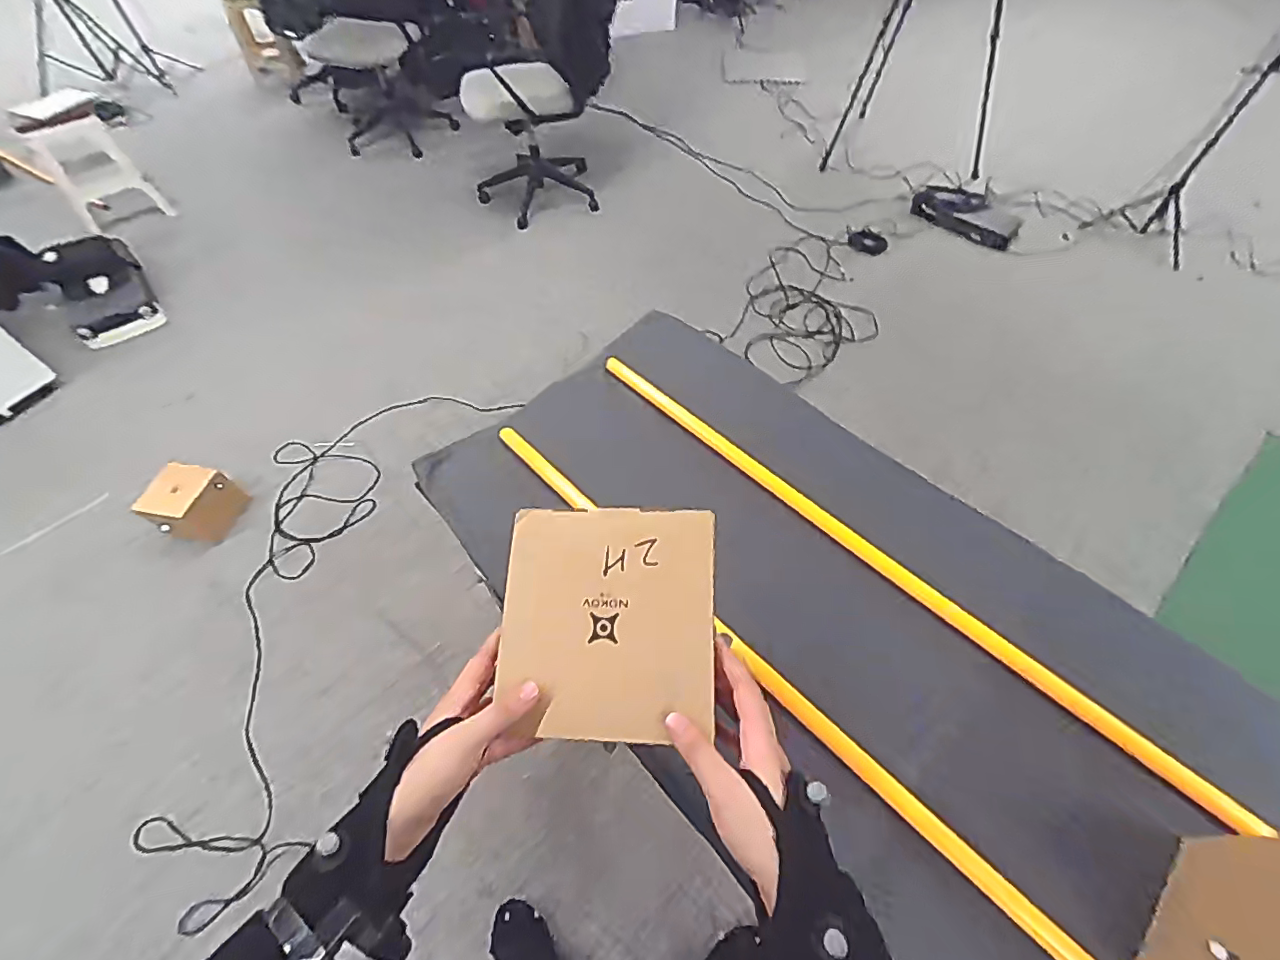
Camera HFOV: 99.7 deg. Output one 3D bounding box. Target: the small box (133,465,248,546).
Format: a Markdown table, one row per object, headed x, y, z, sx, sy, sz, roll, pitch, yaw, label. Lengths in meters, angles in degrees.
| x | y | z | sx | sy | sz | roll | pitch | yaw | label |
| --- | --- | --- | --- | --- | --- | --- | --- | --- | --- |
| -1.353 | 0.081 | 1.645 | 0.168 | 0.176 | 0.179 | 8 | 55 | 6 | small box |
